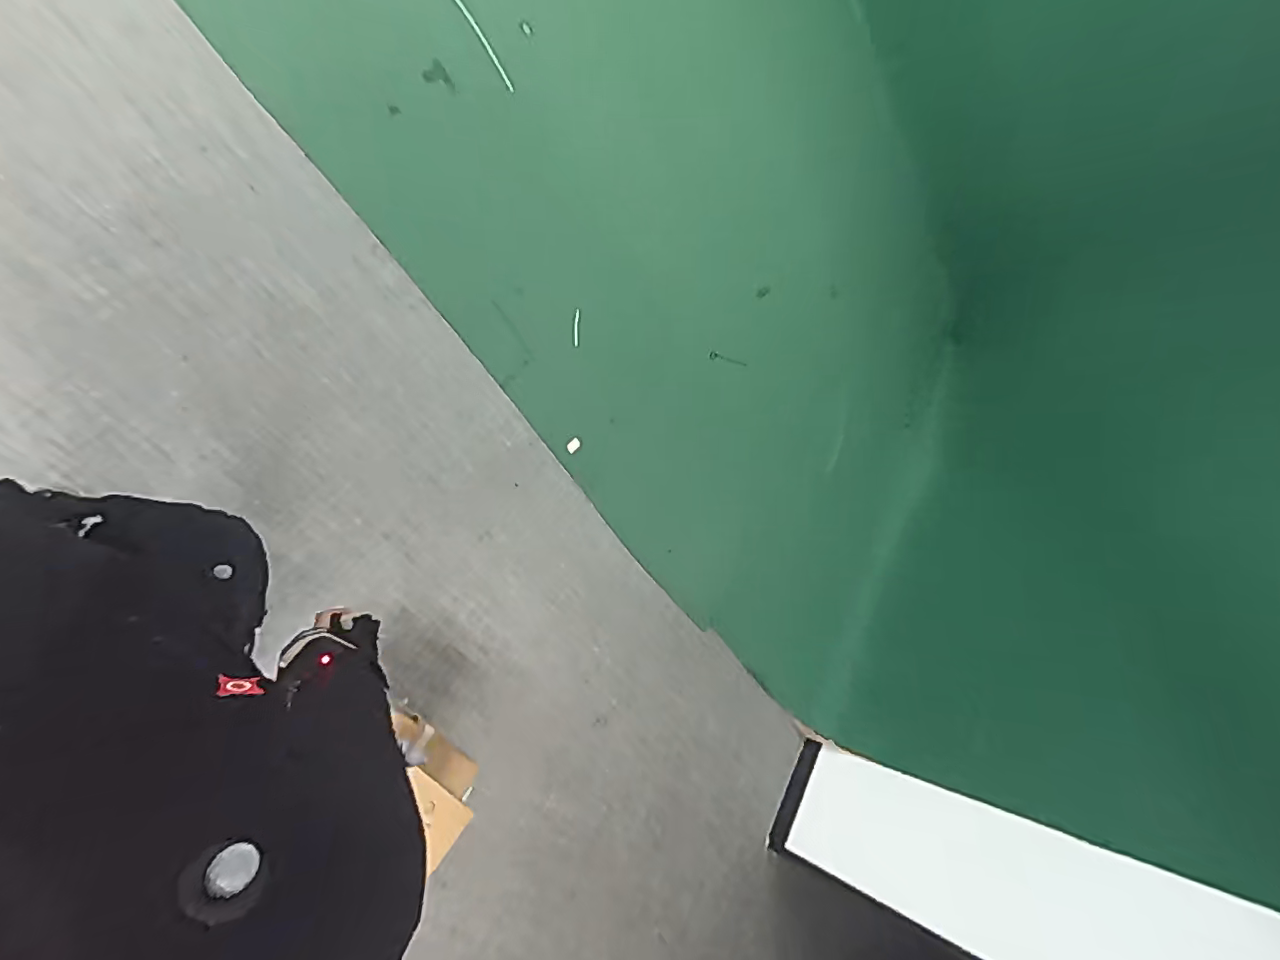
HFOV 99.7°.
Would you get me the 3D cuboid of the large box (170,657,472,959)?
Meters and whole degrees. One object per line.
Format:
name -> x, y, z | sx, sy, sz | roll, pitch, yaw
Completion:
large box -> -0.634, 0.643, 1.098 | 0.320, 0.320, 0.408 | 52, 59, -27
